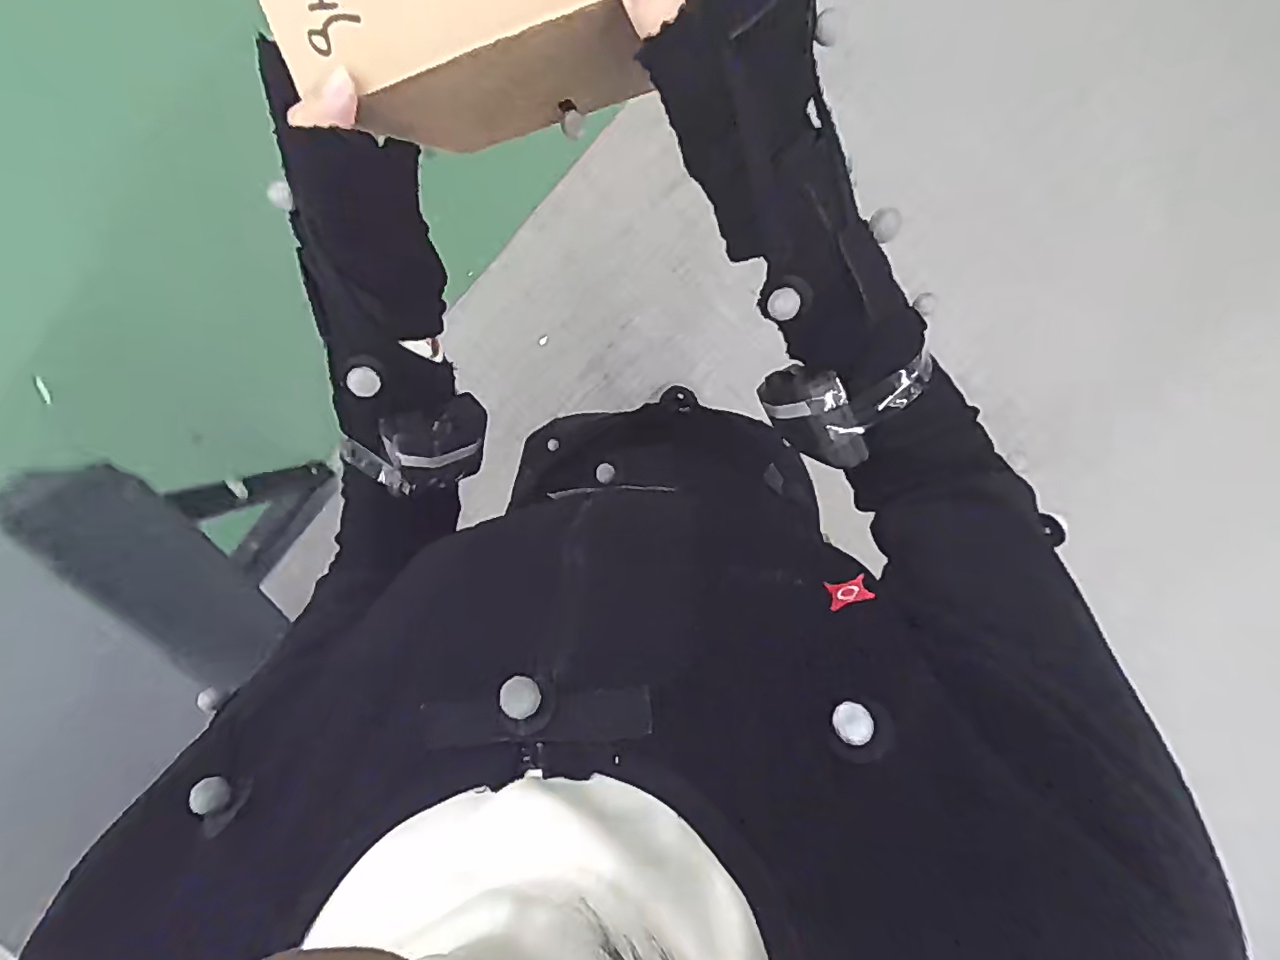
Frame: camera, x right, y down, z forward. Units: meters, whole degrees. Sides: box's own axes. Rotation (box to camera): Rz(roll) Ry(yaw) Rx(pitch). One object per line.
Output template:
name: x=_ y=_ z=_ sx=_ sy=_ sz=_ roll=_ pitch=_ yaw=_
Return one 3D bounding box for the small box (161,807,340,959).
small box: x=-0.571 y=0.614 z=0.759 sx=0.179 sy=0.176 sz=0.168 roll=42 pitch=101 yaw=-3

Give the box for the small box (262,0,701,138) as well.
small box: x=-0.069 y=-0.281 z=0.253 sx=0.179 sy=0.176 sz=0.168 roll=-8 pitch=114 yaw=11
